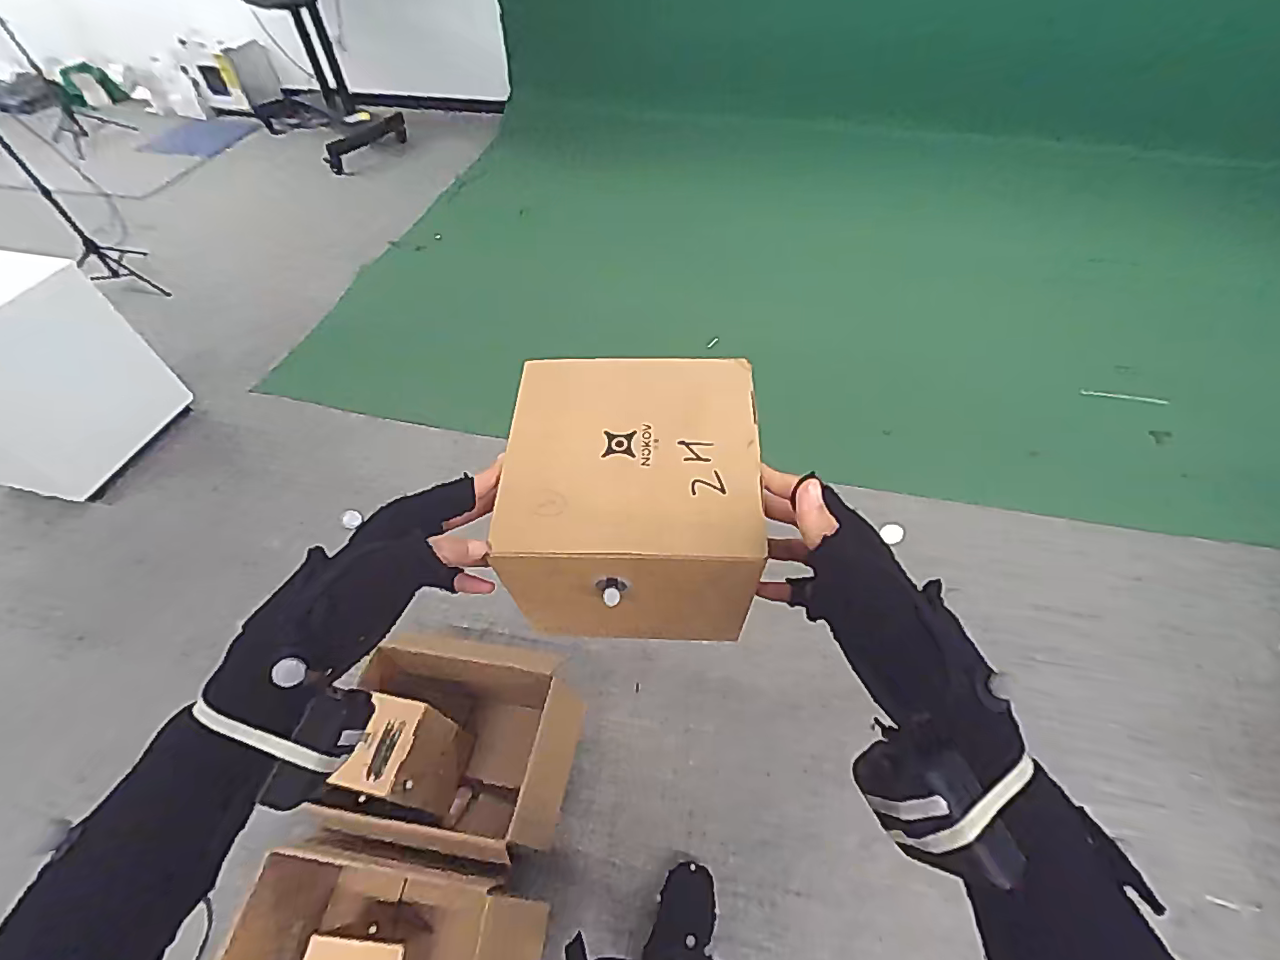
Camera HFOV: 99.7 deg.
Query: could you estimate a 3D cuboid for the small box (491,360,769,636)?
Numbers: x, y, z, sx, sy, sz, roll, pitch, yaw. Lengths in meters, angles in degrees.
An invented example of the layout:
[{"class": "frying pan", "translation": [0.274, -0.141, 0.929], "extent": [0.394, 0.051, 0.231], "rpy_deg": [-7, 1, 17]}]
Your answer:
[{"class": "small box", "translation": [0.000, 0.021, 0.441], "extent": [0.179, 0.176, 0.168], "rpy_deg": [1, 58, 3]}]
